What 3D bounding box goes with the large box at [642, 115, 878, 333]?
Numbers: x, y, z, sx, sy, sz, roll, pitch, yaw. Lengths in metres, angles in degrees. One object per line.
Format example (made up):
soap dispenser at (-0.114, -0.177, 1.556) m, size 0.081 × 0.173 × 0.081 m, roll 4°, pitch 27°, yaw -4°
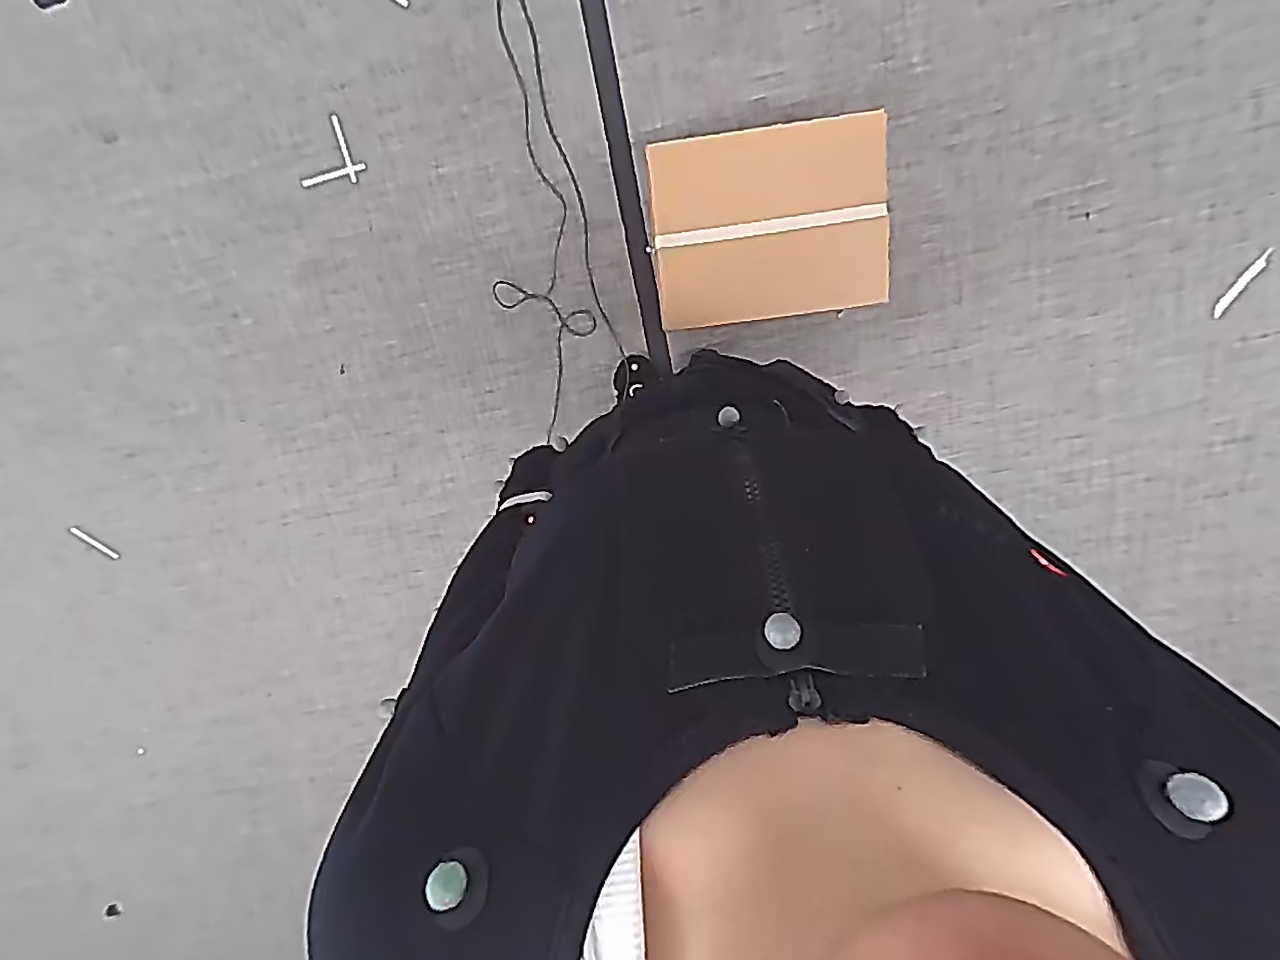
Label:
large box at (0.224, -0.484, 1.102) m, size 0.408 × 0.320 × 0.320 m, roll -6°, pitch 104°, yaw 3°
